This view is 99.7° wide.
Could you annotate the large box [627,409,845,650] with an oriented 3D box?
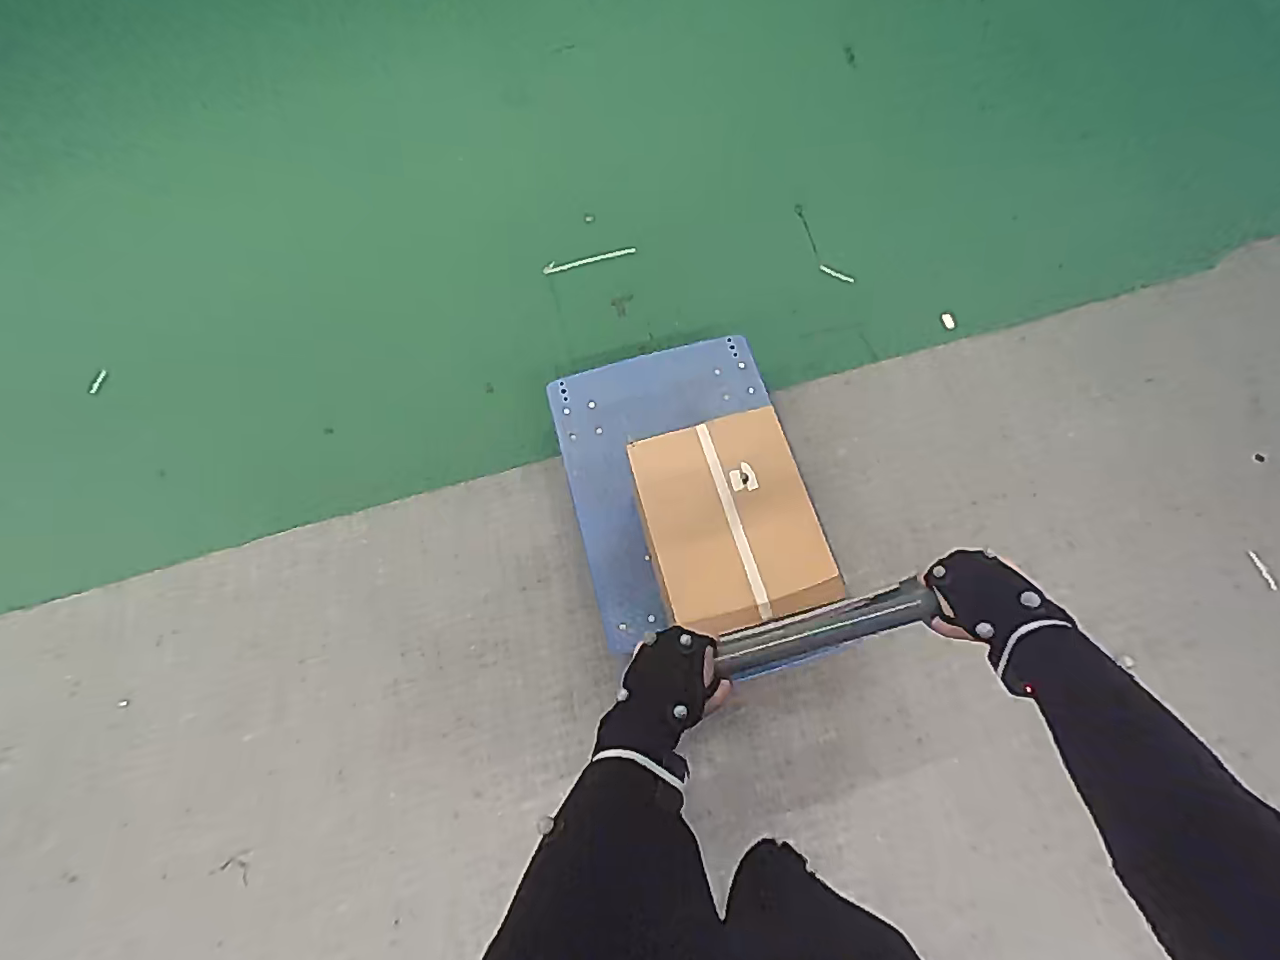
[{"bbox_3d":[0.180,0.123,1.172,0.320,0.320,0.408,-15,70,-4],"label":"large box"}]
